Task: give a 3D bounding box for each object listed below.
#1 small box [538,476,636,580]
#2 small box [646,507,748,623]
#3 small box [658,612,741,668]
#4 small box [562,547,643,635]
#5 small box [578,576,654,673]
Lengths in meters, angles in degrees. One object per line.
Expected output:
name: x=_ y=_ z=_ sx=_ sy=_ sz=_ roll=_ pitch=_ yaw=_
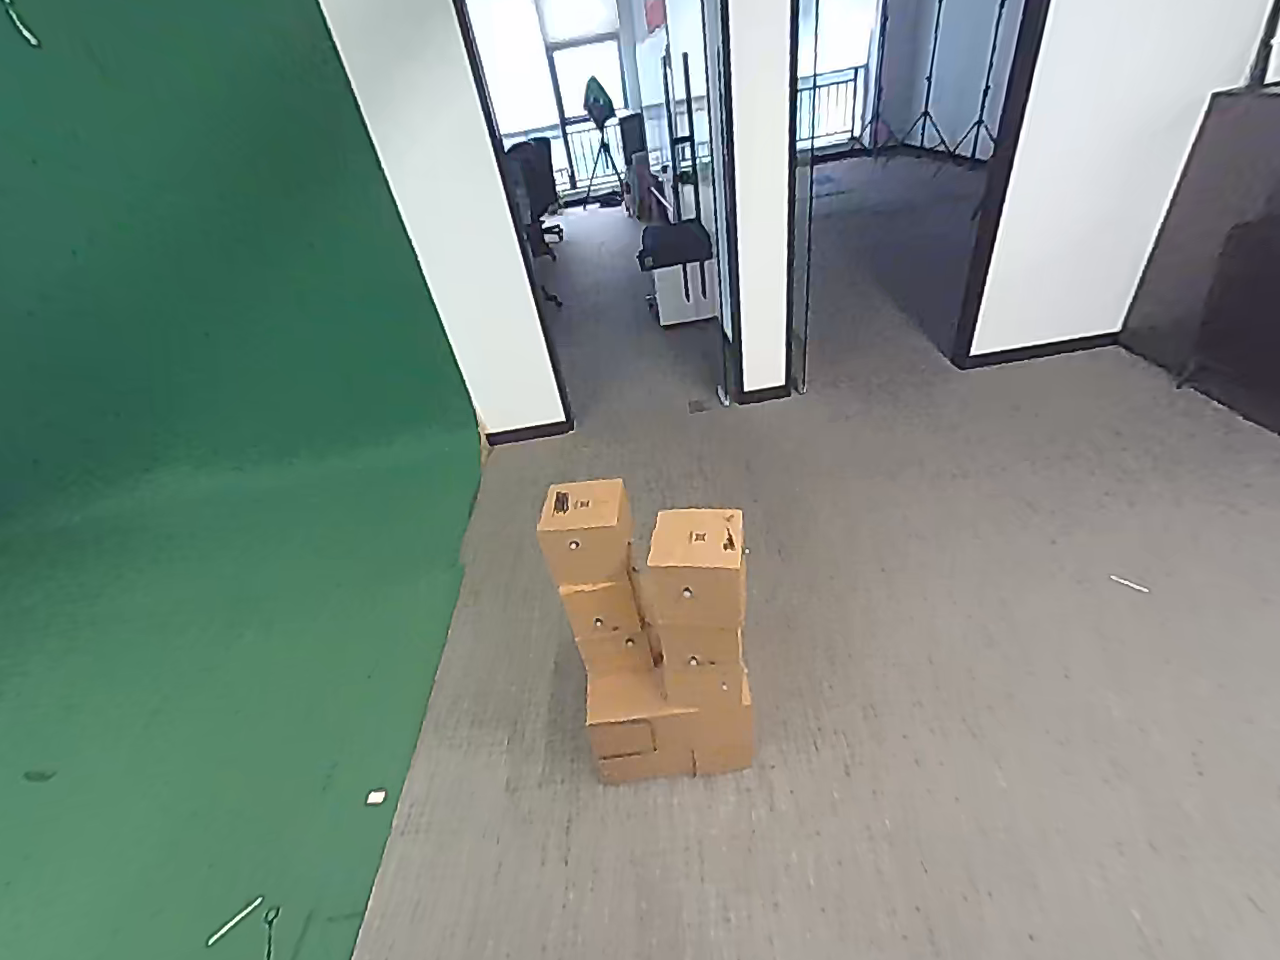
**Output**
small box: x=-0.112 y=0.113 z=1.234 sx=0.179 sy=0.176 sz=0.168 roll=-5 pitch=36 yaw=8
small box: x=0.123 y=0.171 z=1.091 sx=0.179 sy=0.176 sz=0.168 roll=-1 pitch=37 yaw=14
small box: x=0.136 y=0.293 z=1.202 sx=0.168 sy=0.176 sz=0.179 roll=-4 pitch=37 yaw=9
small box: x=-0.087 y=0.250 z=1.322 sx=0.168 sy=0.176 sz=0.179 roll=-8 pitch=36 yaw=4
small box: x=-0.058 y=0.380 z=1.416 sx=0.179 sy=0.176 sz=0.168 roll=-10 pitch=34 yaw=2
